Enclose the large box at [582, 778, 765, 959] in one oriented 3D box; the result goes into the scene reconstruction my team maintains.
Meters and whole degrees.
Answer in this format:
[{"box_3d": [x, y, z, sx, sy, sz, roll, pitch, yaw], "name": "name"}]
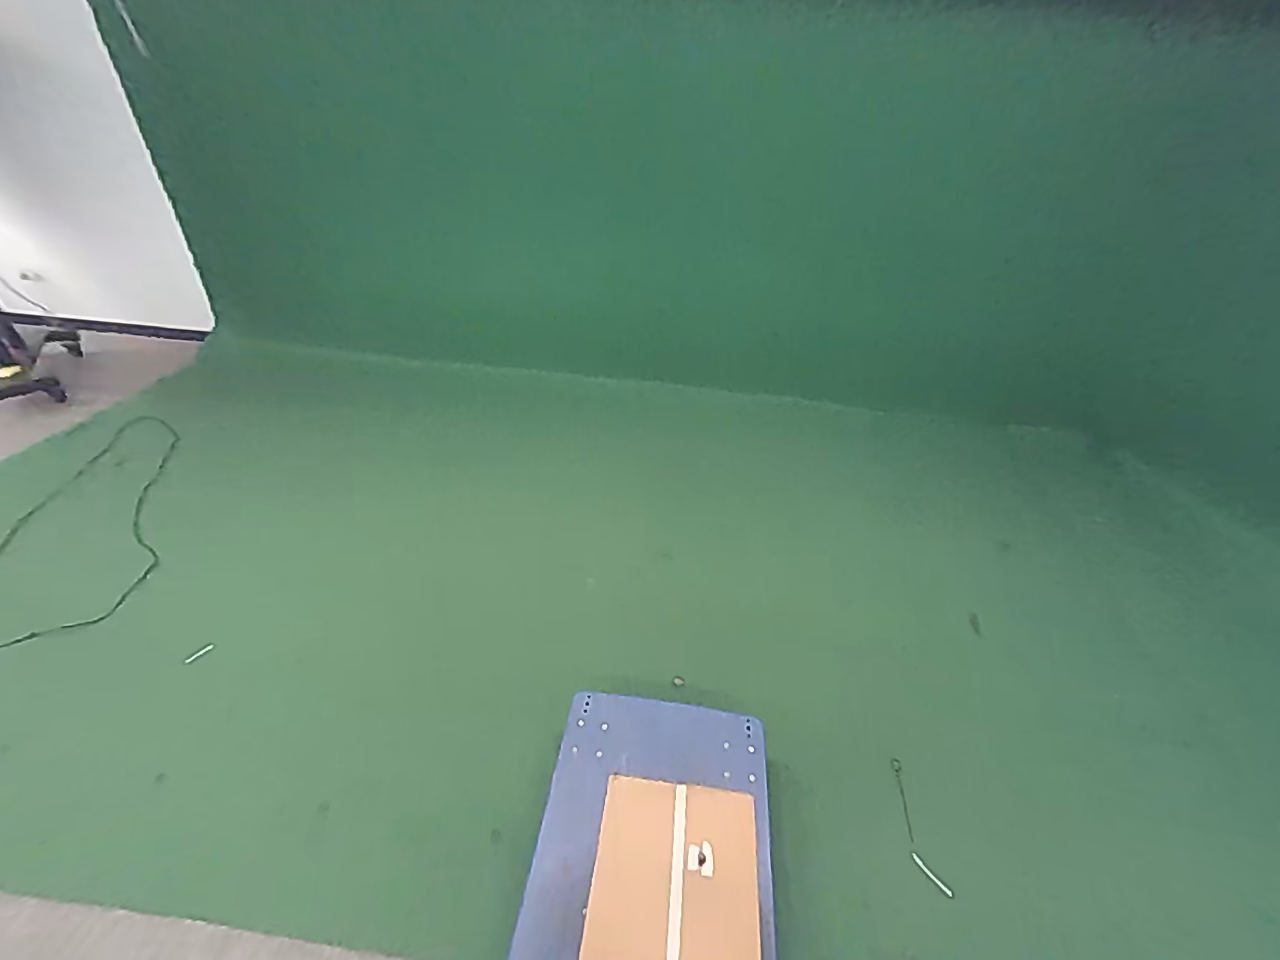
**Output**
[{"box_3d": [0.060, 0.886, 1.064, 0.320, 0.320, 0.408, 8, 35, 4], "name": "large box"}]
